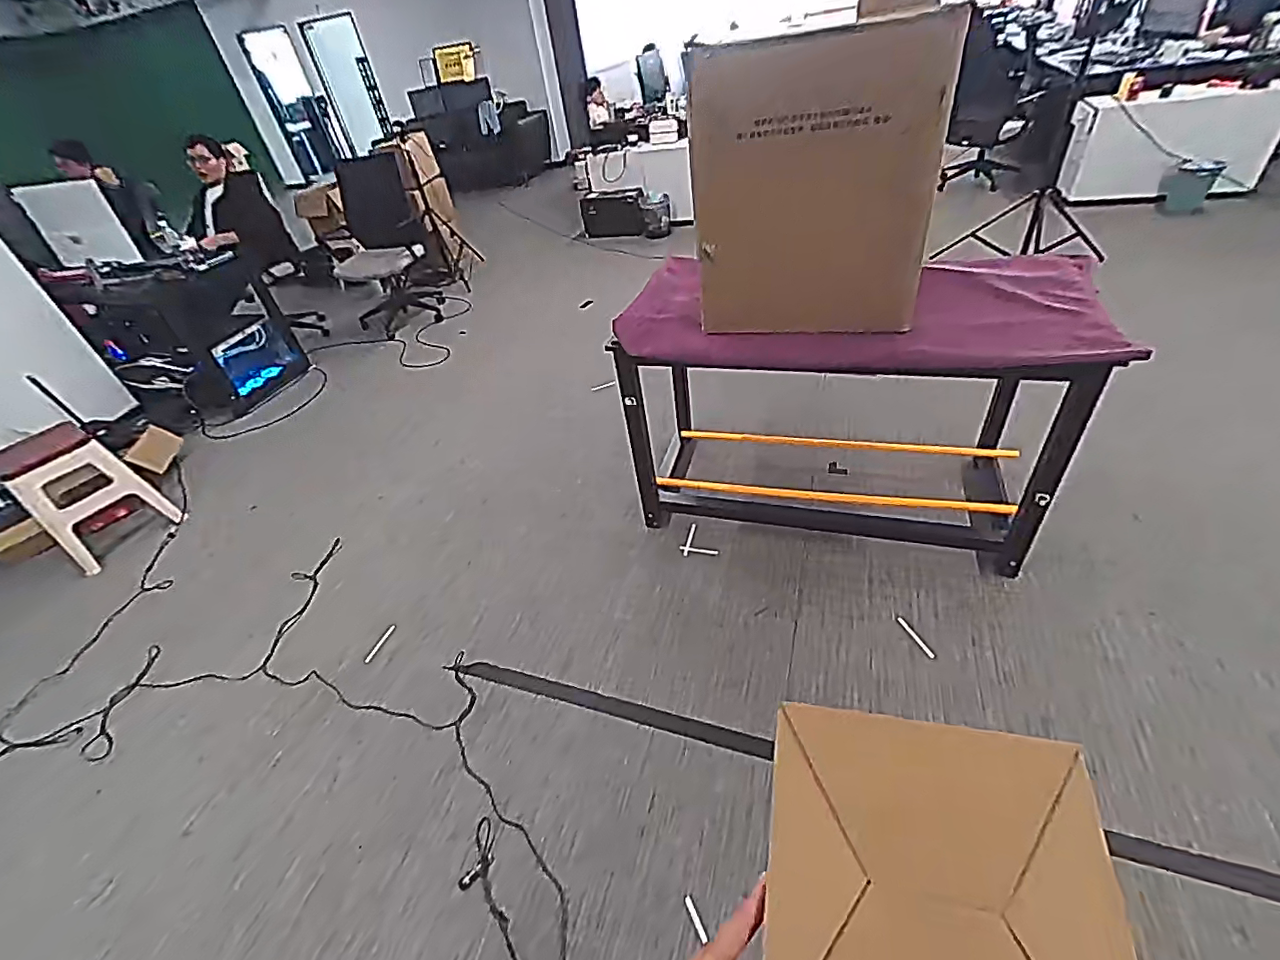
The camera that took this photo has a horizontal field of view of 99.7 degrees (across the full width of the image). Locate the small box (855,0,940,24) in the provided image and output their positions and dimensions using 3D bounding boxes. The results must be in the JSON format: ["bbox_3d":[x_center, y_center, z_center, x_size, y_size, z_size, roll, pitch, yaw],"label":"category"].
[{"bbox_3d":[0.552,-1.087,1.145,0.168,0.176,0.179,5,42,20],"label":"small box"}]

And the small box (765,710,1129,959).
[{"bbox_3d":[0.169,0.269,0.337,0.168,0.176,0.179,2,50,18],"label":"small box"}]
